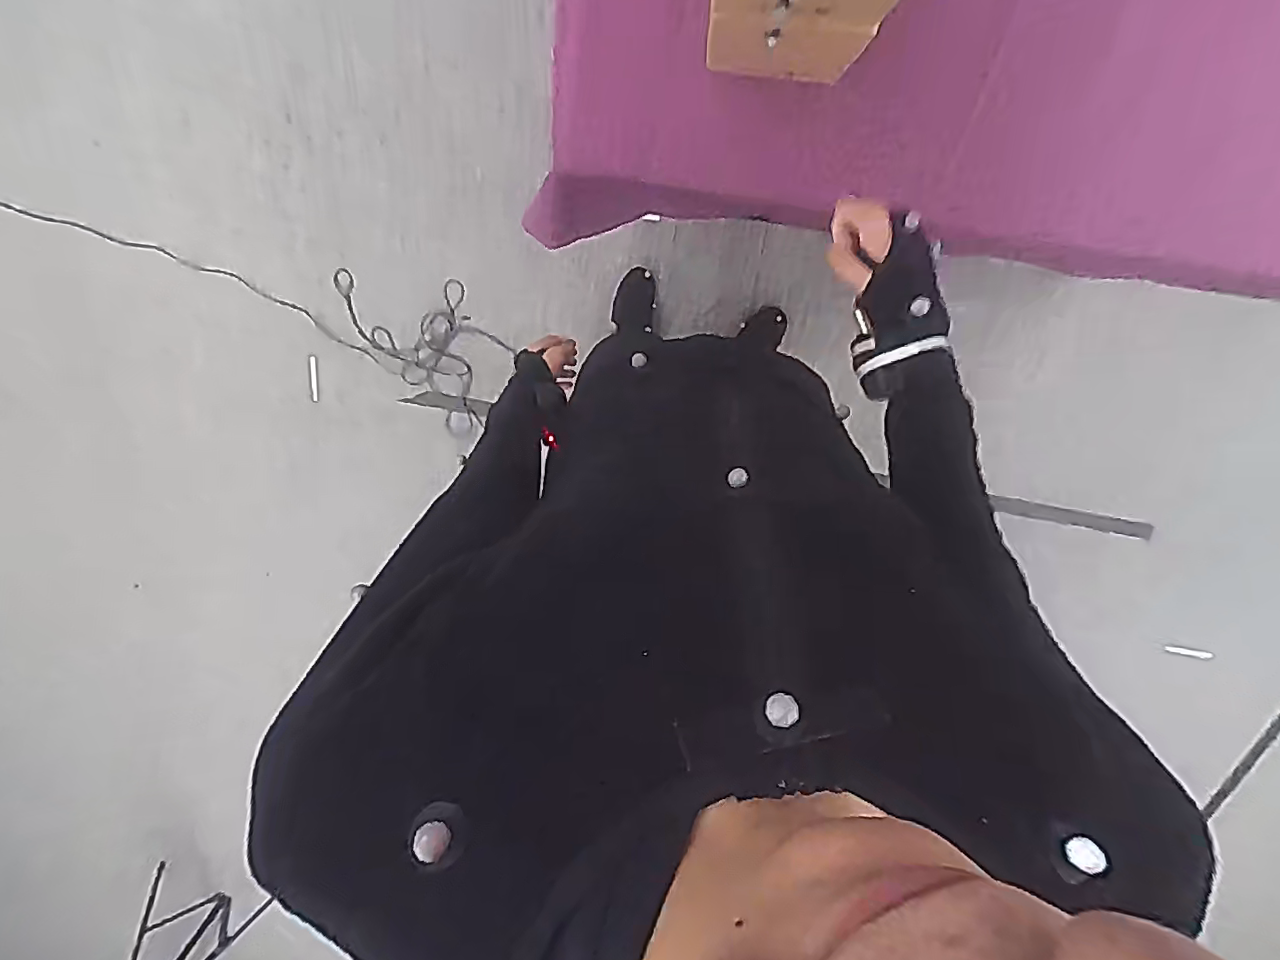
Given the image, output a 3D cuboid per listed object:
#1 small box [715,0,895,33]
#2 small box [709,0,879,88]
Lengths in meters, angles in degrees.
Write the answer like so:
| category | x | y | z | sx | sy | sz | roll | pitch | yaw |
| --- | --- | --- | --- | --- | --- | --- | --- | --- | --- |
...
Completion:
| category | x | y | z | sx | sy | sz | roll | pitch | yaw |
| --- | --- | --- | --- | --- | --- | --- | --- | --- | --- |
| small box | 0.151 | -0.500 | 0.428 | 0.168 | 0.176 | 0.179 | 6 | 113 | 2 |
| small box | 0.168 | -0.558 | 0.580 | 0.168 | 0.176 | 0.179 | 8 | 112 | 2 |
